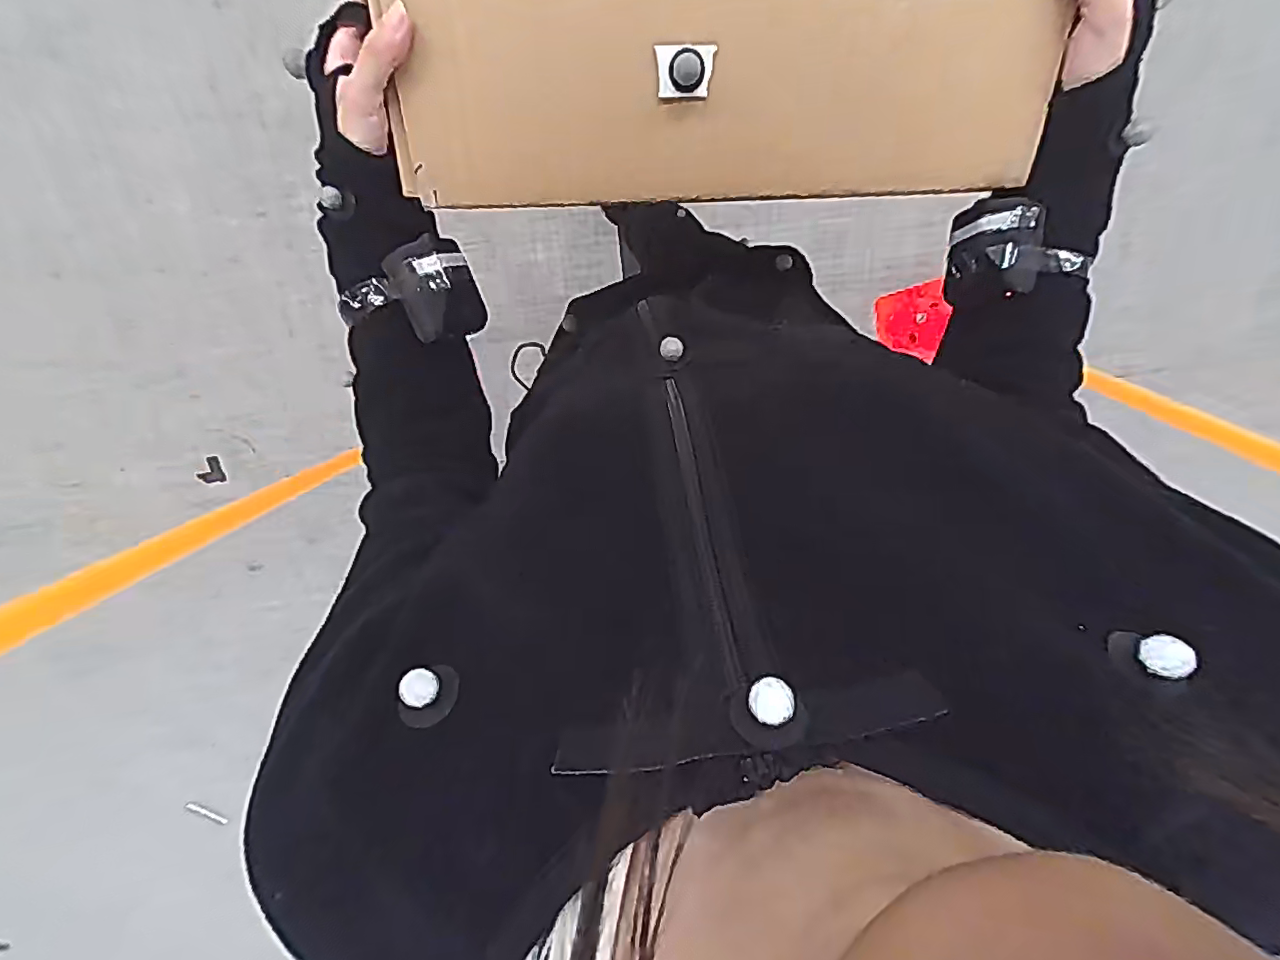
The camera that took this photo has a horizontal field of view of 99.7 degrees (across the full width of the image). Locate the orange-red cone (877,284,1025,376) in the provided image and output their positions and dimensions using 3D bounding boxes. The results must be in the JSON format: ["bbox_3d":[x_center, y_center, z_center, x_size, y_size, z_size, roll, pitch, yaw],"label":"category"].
[{"bbox_3d":[0.706,-0.308,1.194,0.199,0.360,0.198,-16,113,1],"label":"orange-red cone"}]
